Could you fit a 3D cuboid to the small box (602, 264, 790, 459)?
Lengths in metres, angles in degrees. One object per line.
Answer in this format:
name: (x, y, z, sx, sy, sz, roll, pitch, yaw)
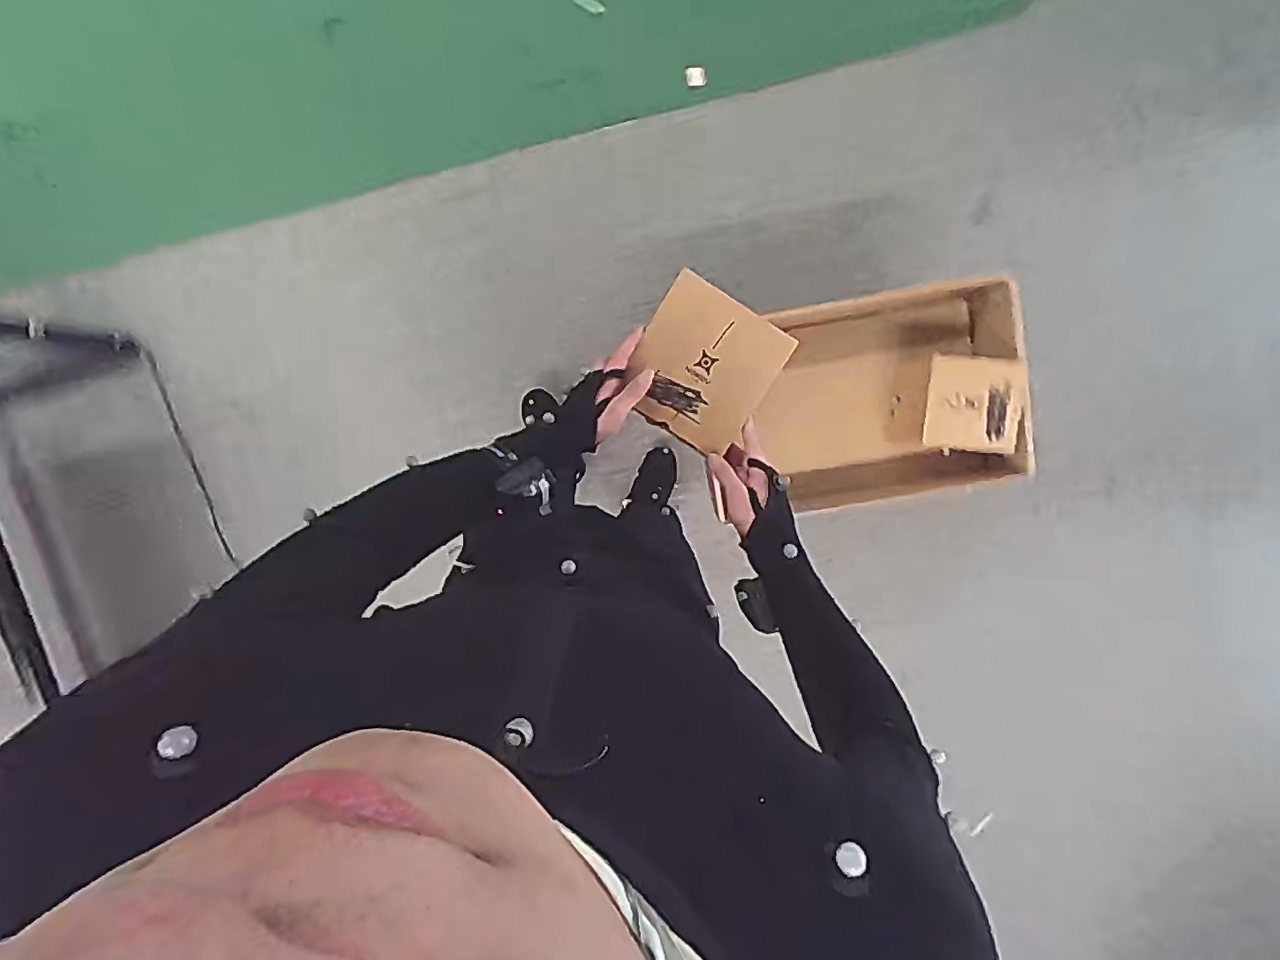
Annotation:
small box: (0.072, -0.153, 0.723, 0.168, 0.176, 0.179, 31, 101, -3)
